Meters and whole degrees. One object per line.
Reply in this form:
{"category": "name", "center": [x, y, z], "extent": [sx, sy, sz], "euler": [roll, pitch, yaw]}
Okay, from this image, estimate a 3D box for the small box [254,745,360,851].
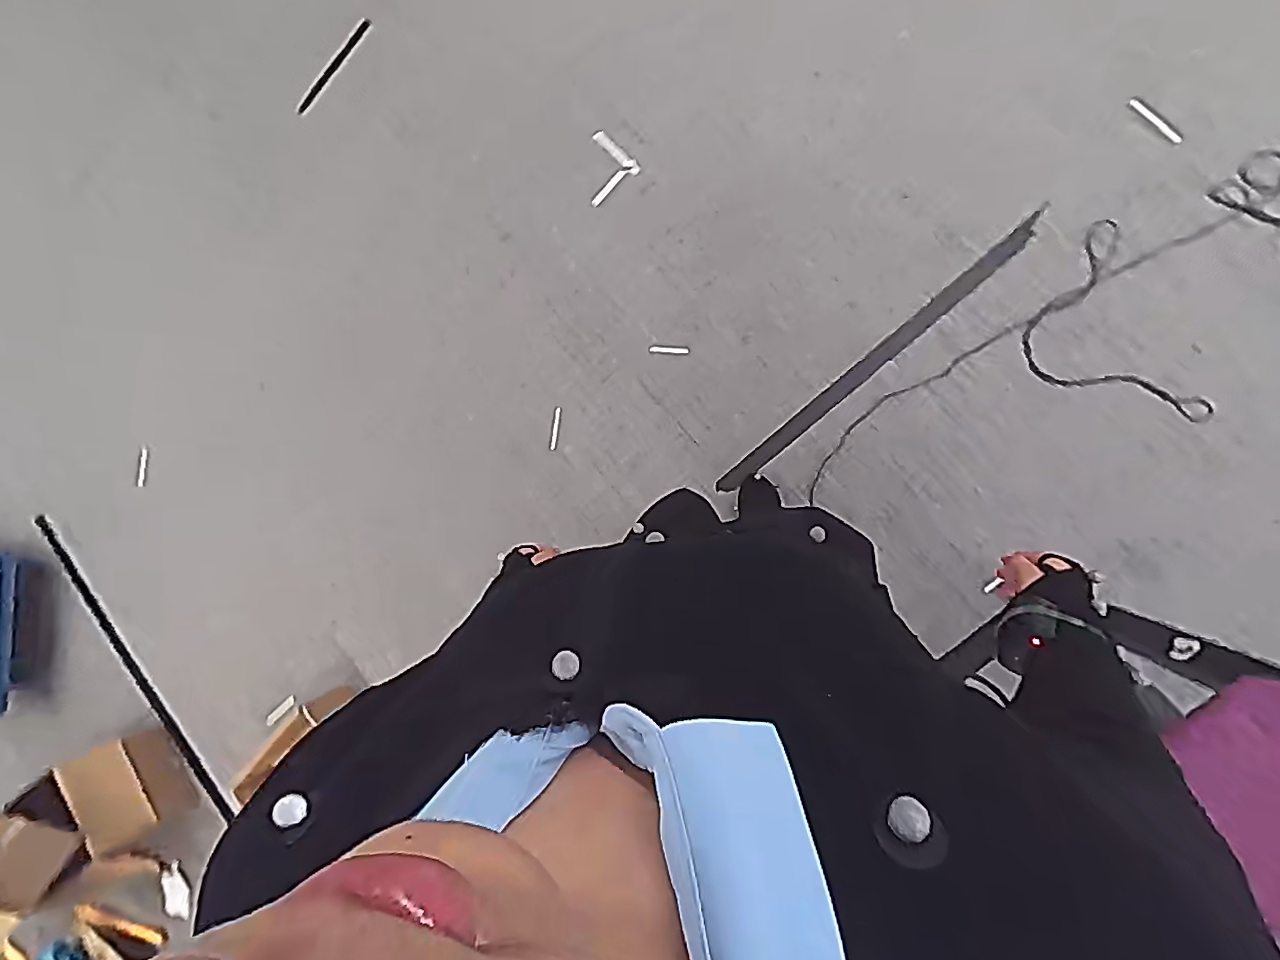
{"category": "small box", "center": [-0.989, 0.944, 1.619], "extent": [0.168, 0.176, 0.179], "euler": [44, 99, 9]}
